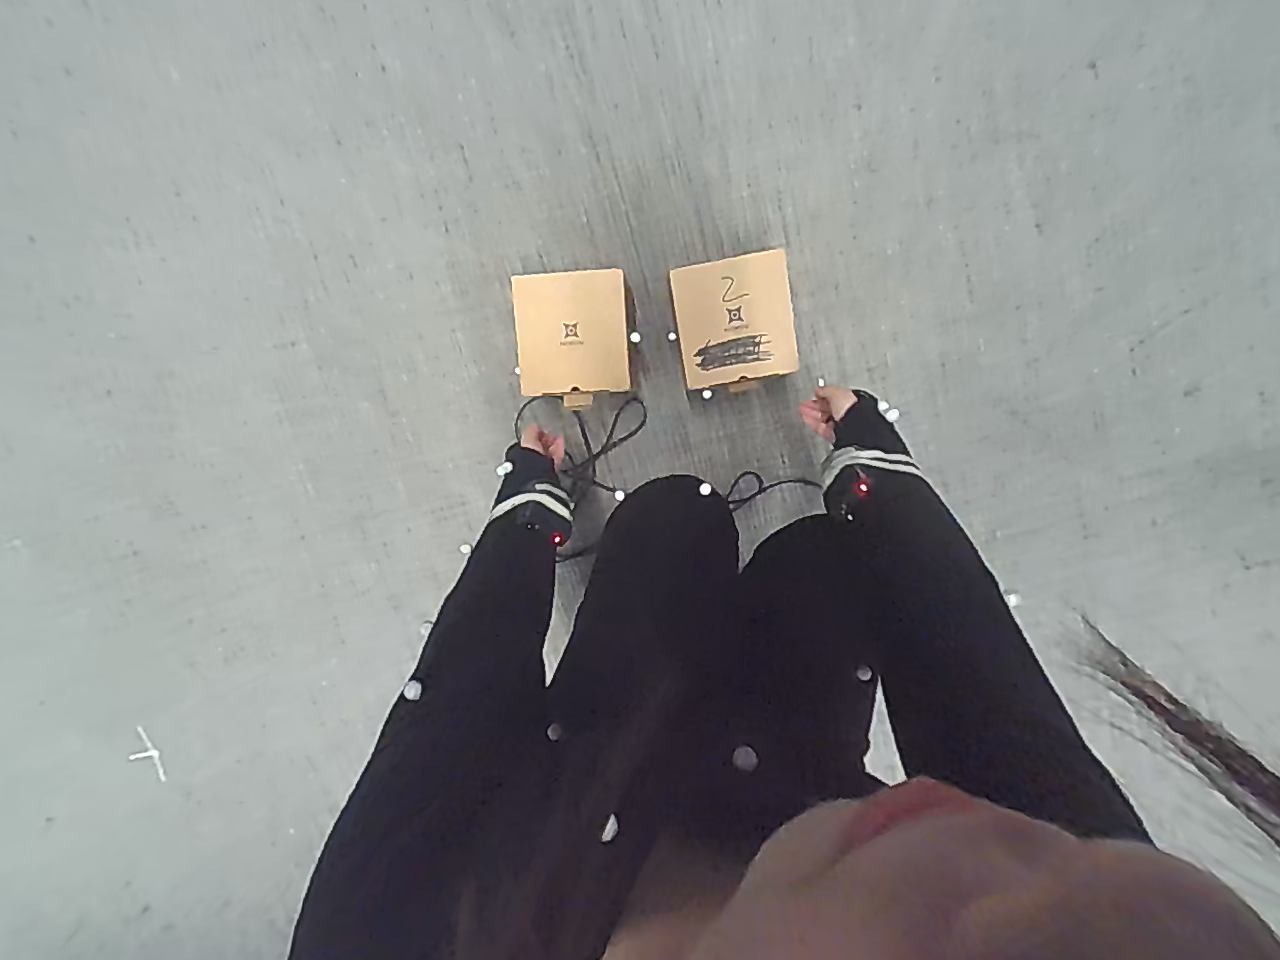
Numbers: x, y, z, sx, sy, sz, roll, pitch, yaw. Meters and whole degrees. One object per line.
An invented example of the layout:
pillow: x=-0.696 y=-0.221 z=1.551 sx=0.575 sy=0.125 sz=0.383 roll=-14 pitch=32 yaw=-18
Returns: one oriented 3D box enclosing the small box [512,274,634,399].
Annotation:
small box: x=-0.100 y=-0.225 z=0.879 sx=0.168 sy=0.176 sz=0.179 roll=-2 pitch=101 yaw=4
